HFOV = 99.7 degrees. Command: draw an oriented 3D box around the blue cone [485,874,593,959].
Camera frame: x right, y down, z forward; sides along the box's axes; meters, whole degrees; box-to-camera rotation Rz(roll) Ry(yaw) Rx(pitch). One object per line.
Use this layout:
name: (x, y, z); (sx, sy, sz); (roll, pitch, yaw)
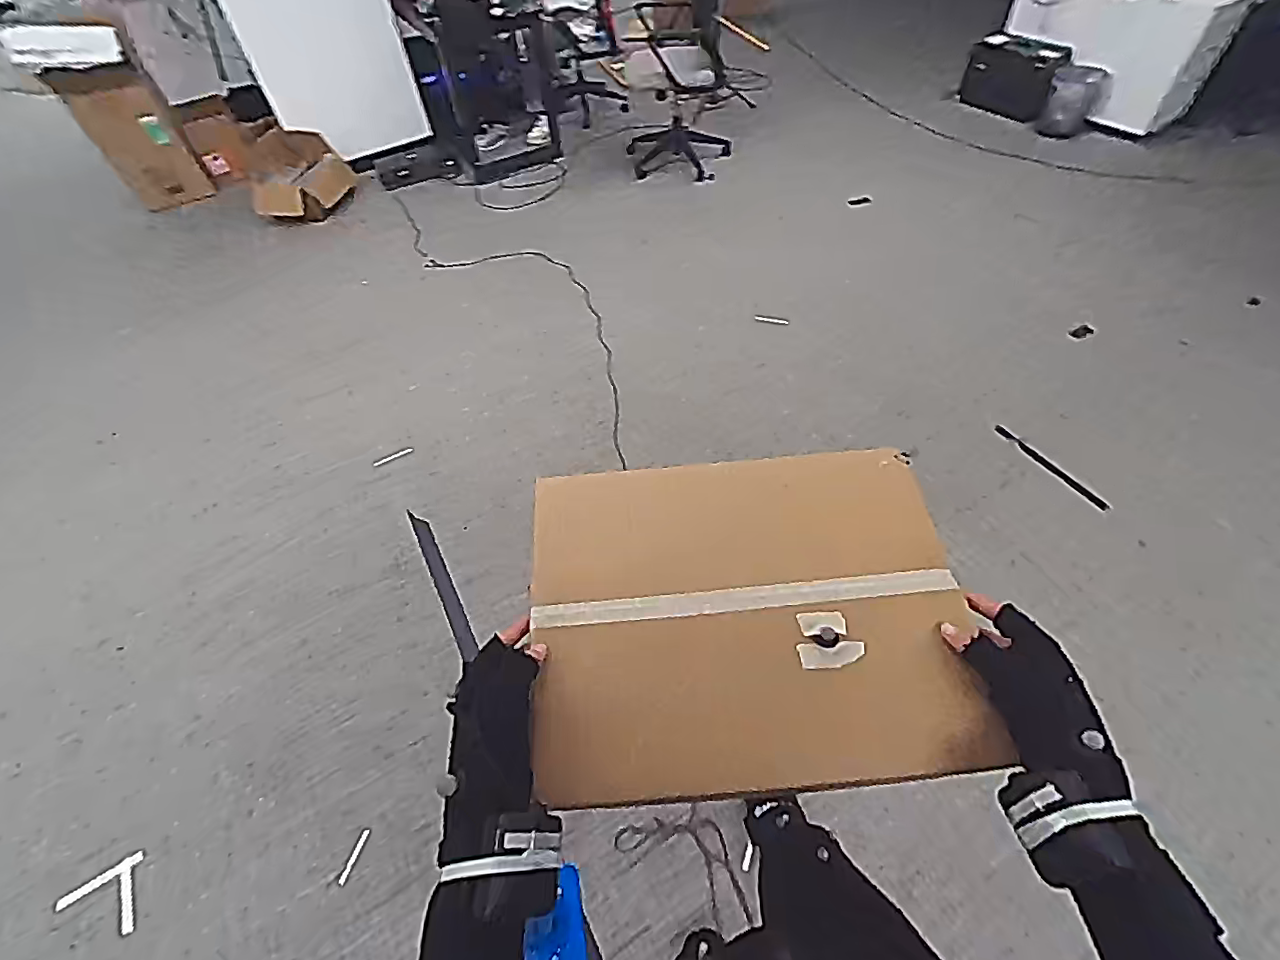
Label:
blue cone: (-0.215, 0.857, 1.005); (0.193, 0.380, 0.192); (-11, 53, -2)

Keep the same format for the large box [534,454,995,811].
large box: (0.098, 0.199, 0.659); (0.408, 0.320, 0.320); (-6, 58, -1)
